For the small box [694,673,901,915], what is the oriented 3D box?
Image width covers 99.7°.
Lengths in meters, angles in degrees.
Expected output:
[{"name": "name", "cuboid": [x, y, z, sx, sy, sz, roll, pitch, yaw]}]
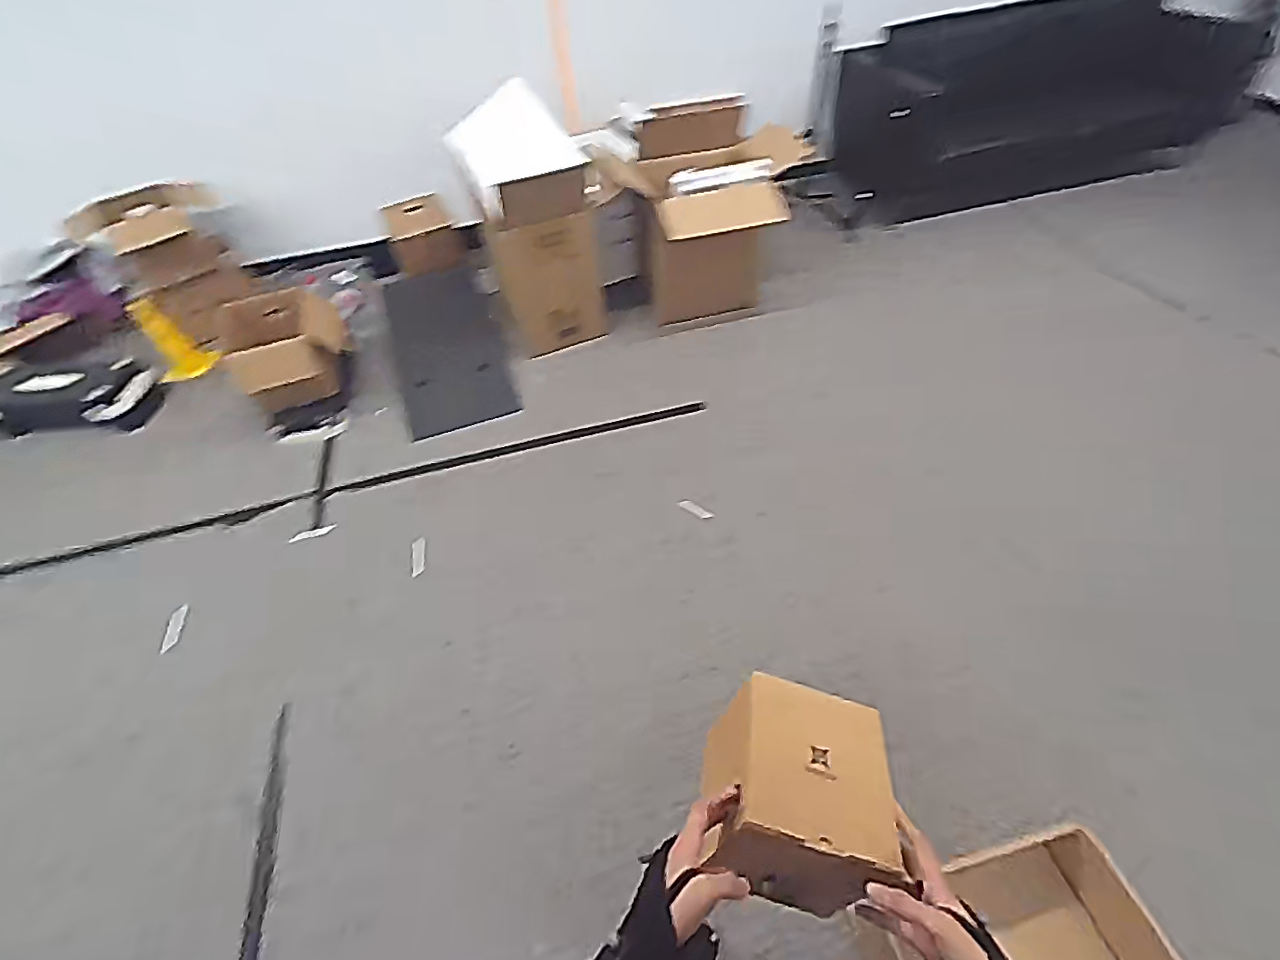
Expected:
[{"name": "small box", "cuboid": [0.171, 0.368, 0.636, 0.168, 0.176, 0.179, 18, 39, -1]}]
